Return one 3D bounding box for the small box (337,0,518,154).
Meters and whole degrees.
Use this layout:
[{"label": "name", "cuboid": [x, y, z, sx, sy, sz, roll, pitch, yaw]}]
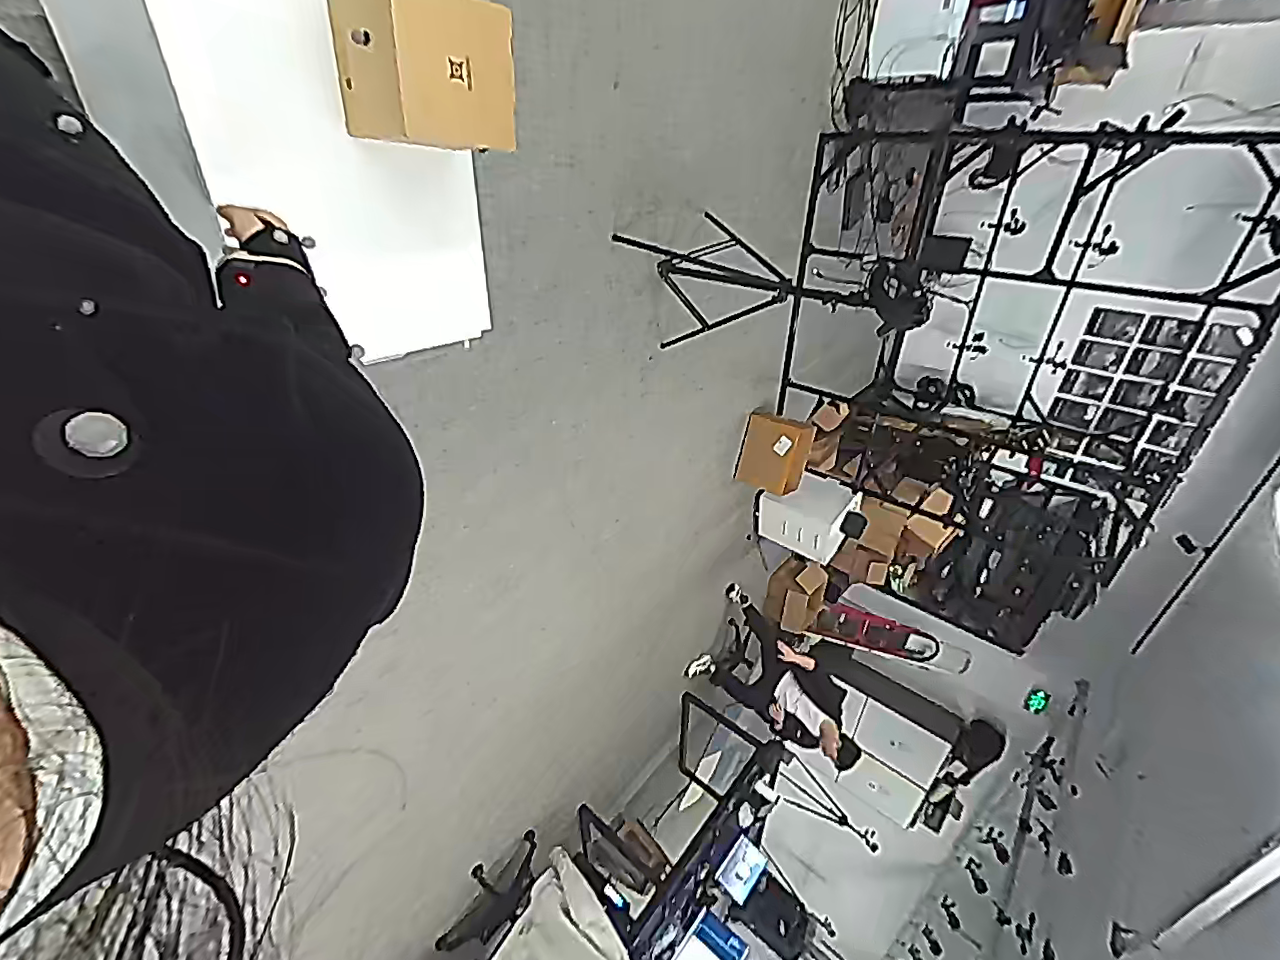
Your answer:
[{"label": "small box", "cuboid": [-0.292, -0.555, 0.748, 0.179, 0.176, 0.168, -26, 131, -44]}]
